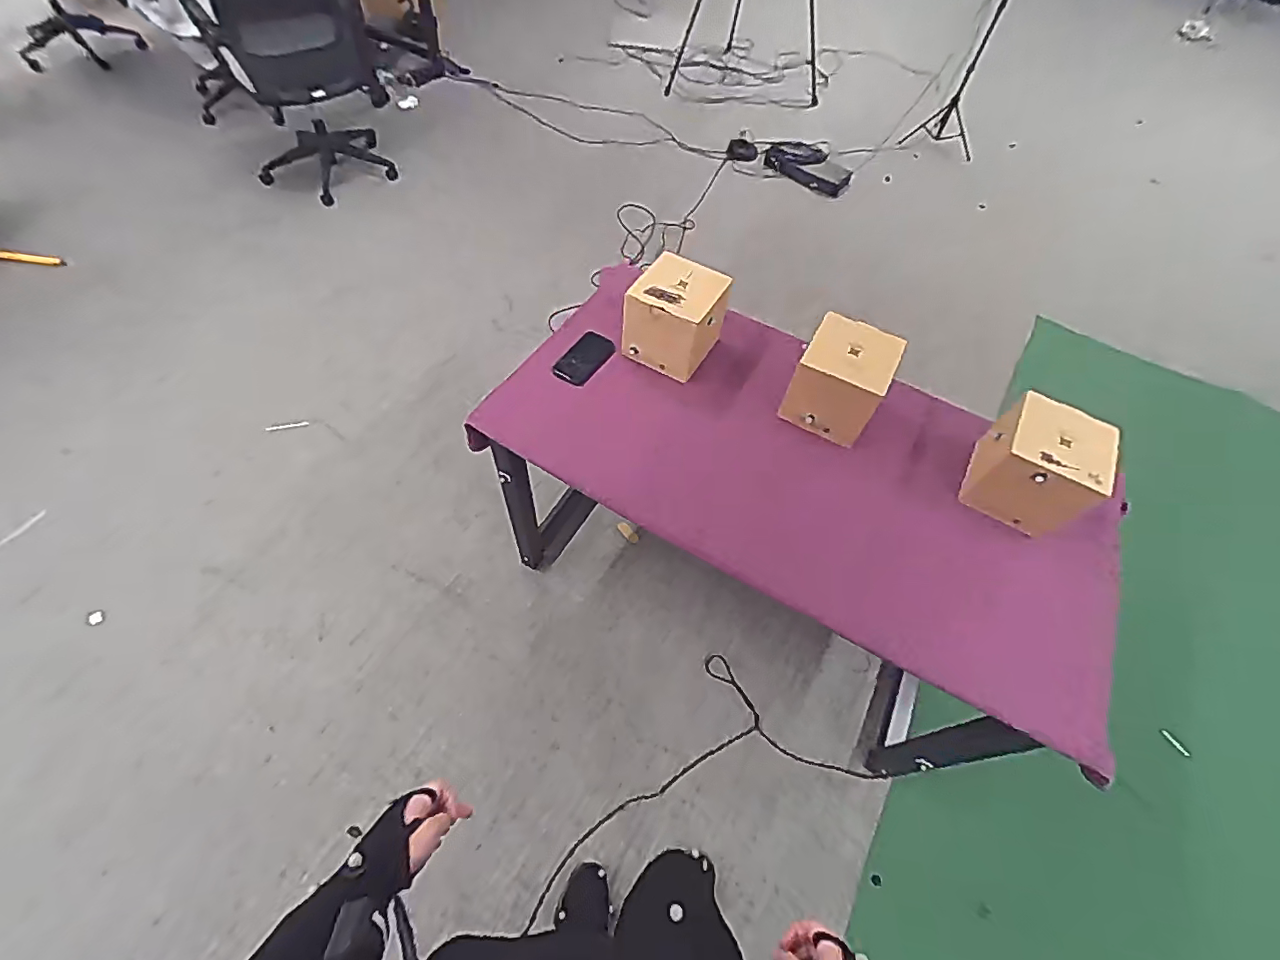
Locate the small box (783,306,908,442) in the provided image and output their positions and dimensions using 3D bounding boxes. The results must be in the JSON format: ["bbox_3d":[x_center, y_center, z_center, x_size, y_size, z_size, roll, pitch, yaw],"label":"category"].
[{"bbox_3d":[0.407,-0.211,1.094,0.168,0.176,0.179,26,60,14],"label":"small box"}]

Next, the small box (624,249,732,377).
[{"bbox_3d":[0.078,-0.354,1.164,0.168,0.176,0.179,27,59,13],"label":"small box"}]

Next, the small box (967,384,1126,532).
[{"bbox_3d":[0.743,-0.038,1.001,0.168,0.176,0.179,28,60,15],"label":"small box"}]
